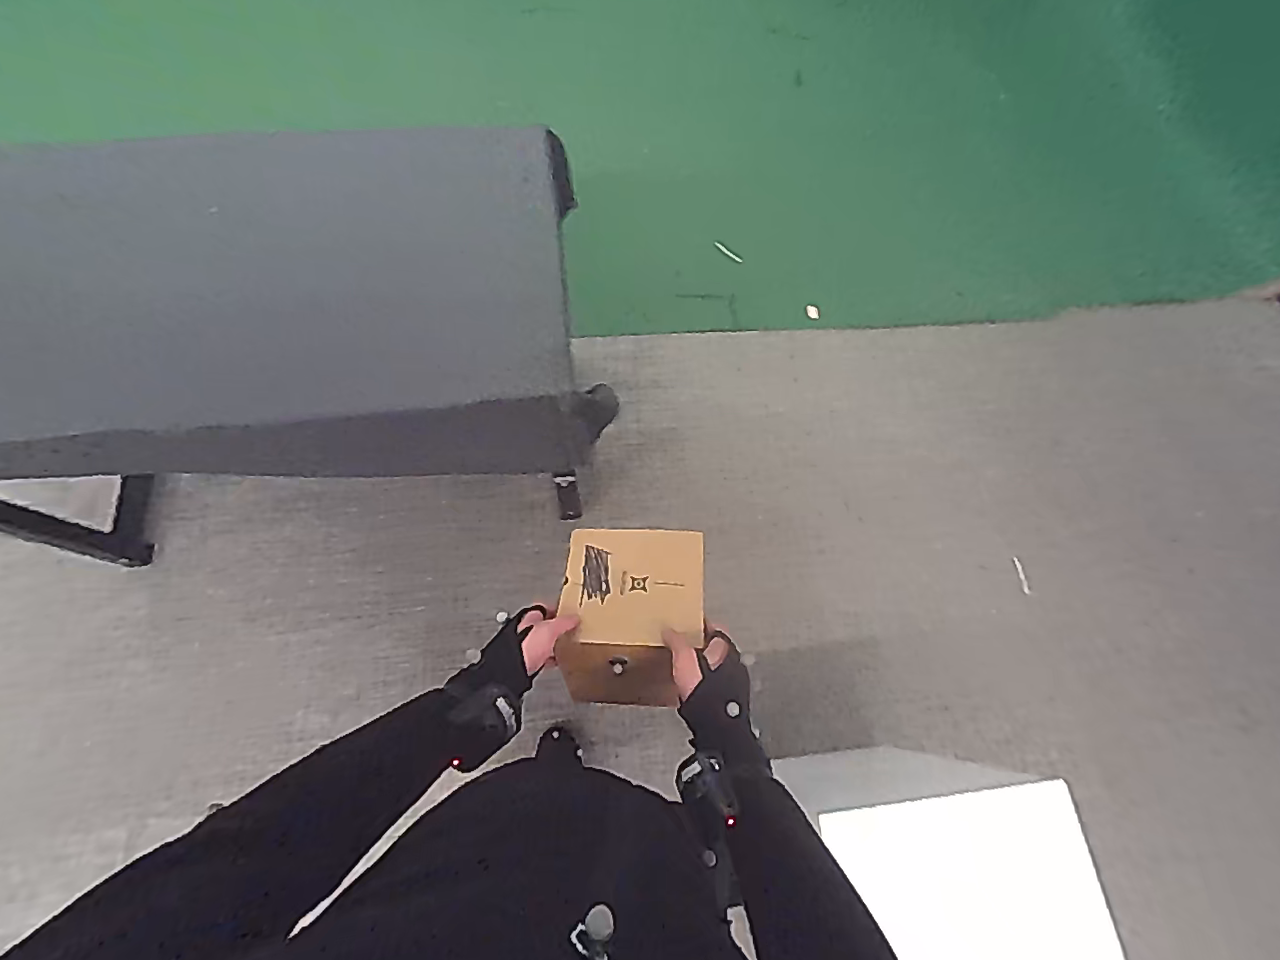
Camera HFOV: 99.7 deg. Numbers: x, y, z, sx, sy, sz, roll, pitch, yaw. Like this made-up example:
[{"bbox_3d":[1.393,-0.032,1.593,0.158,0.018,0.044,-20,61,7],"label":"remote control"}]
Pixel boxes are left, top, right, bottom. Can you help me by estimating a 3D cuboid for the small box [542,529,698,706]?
[{"bbox_3d":[-0.013,0.180,0.707,0.179,0.176,0.168,1,46,5],"label":"small box"}]
